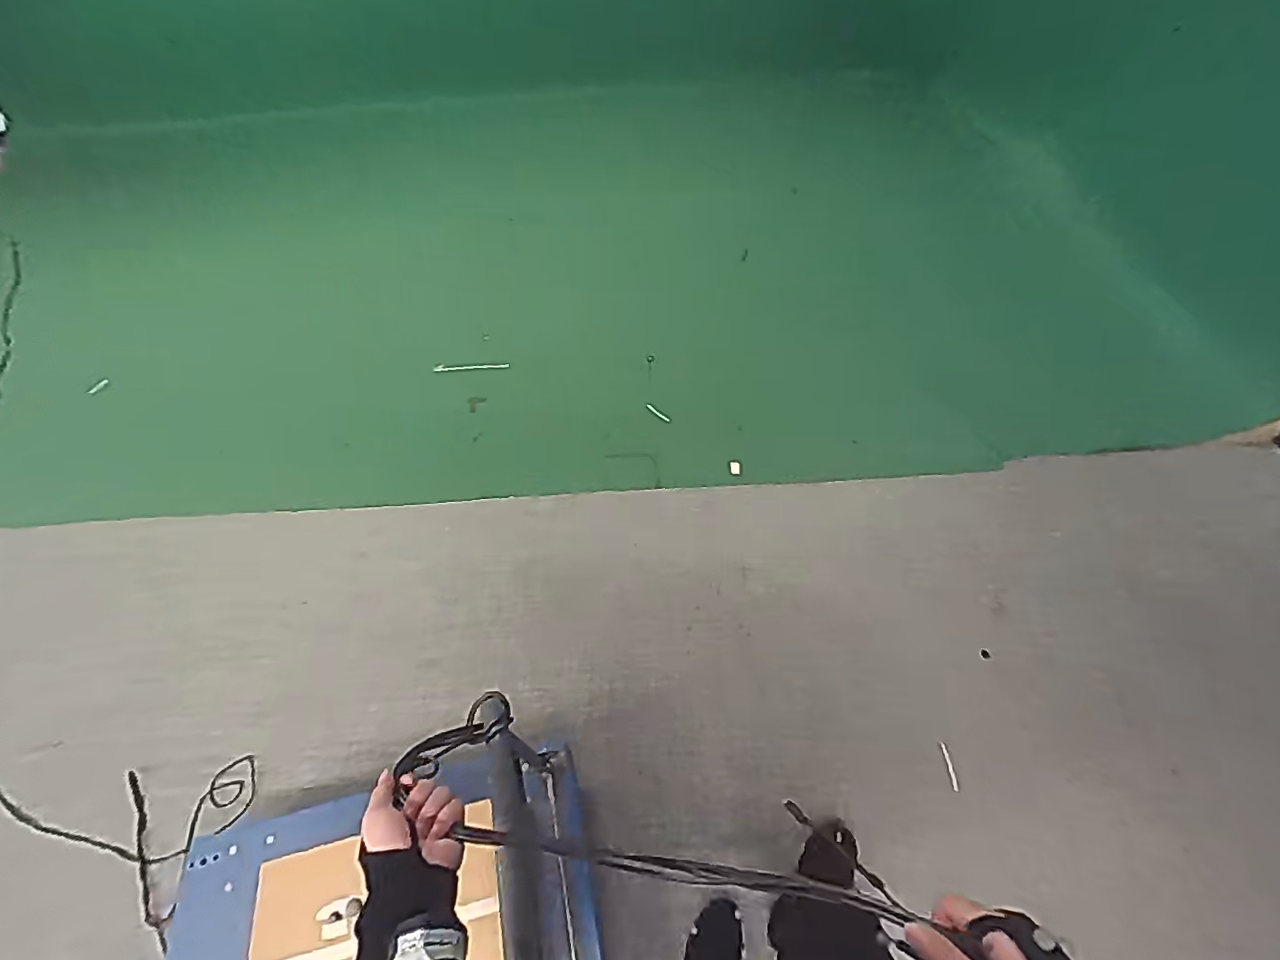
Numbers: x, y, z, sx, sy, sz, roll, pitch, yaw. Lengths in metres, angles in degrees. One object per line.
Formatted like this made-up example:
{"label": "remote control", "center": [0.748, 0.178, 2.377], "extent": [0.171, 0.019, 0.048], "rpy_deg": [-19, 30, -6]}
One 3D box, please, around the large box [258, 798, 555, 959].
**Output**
{"label": "large box", "center": [-0.400, 0.817, 0.990], "extent": [0.408, 0.320, 0.320], "rpy_deg": [-14, 57, -4]}
